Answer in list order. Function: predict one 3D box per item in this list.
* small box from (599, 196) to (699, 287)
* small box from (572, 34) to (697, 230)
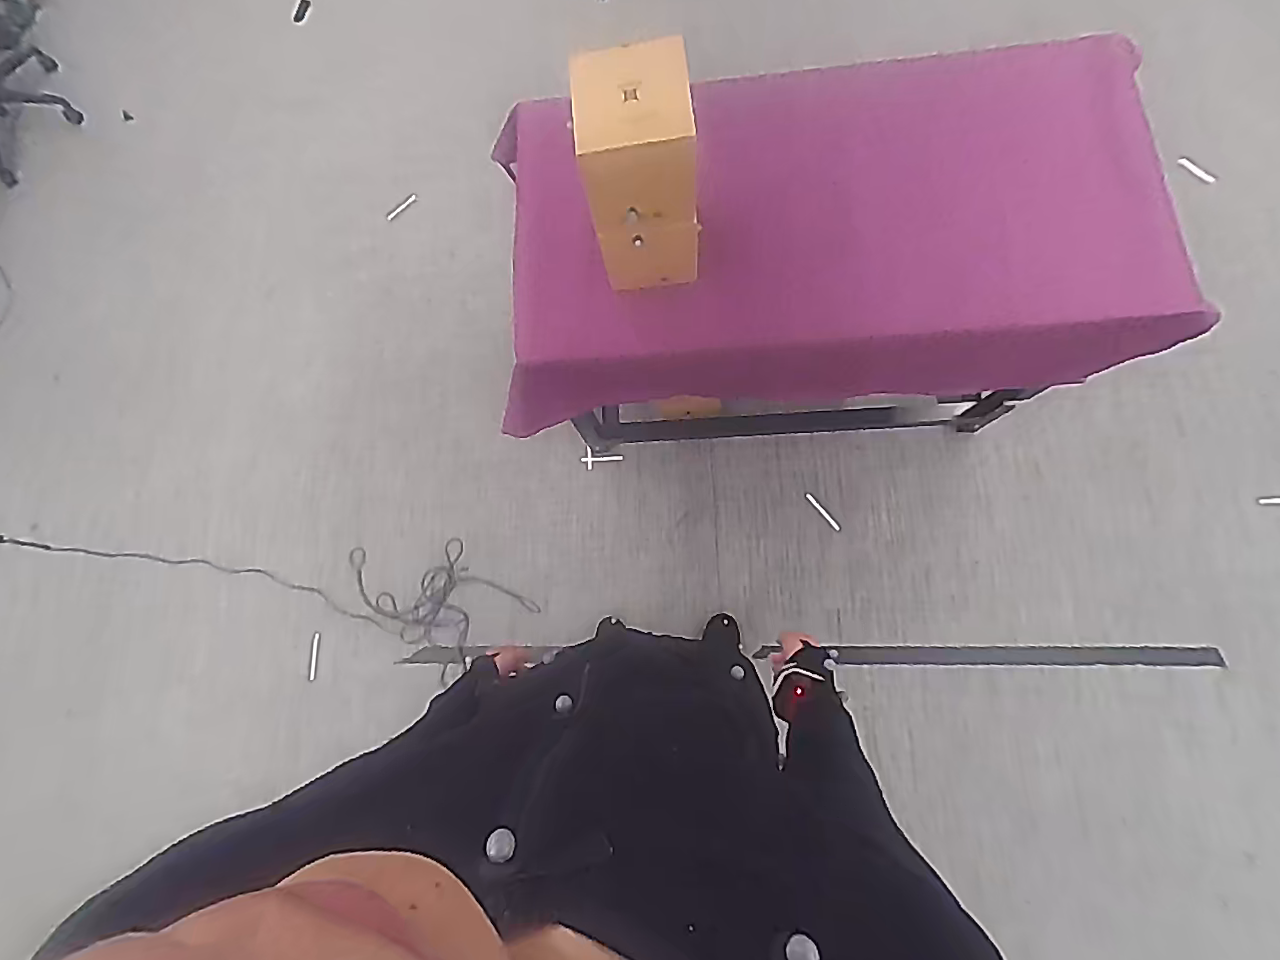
[{"bbox_3d":[0.017,-0.478,0.976,0.168,0.176,0.179,-4,77,5],"label":"small box"},{"bbox_3d":[-0.004,-0.515,0.818,0.168,0.176,0.179,-6,77,4],"label":"small box"}]
